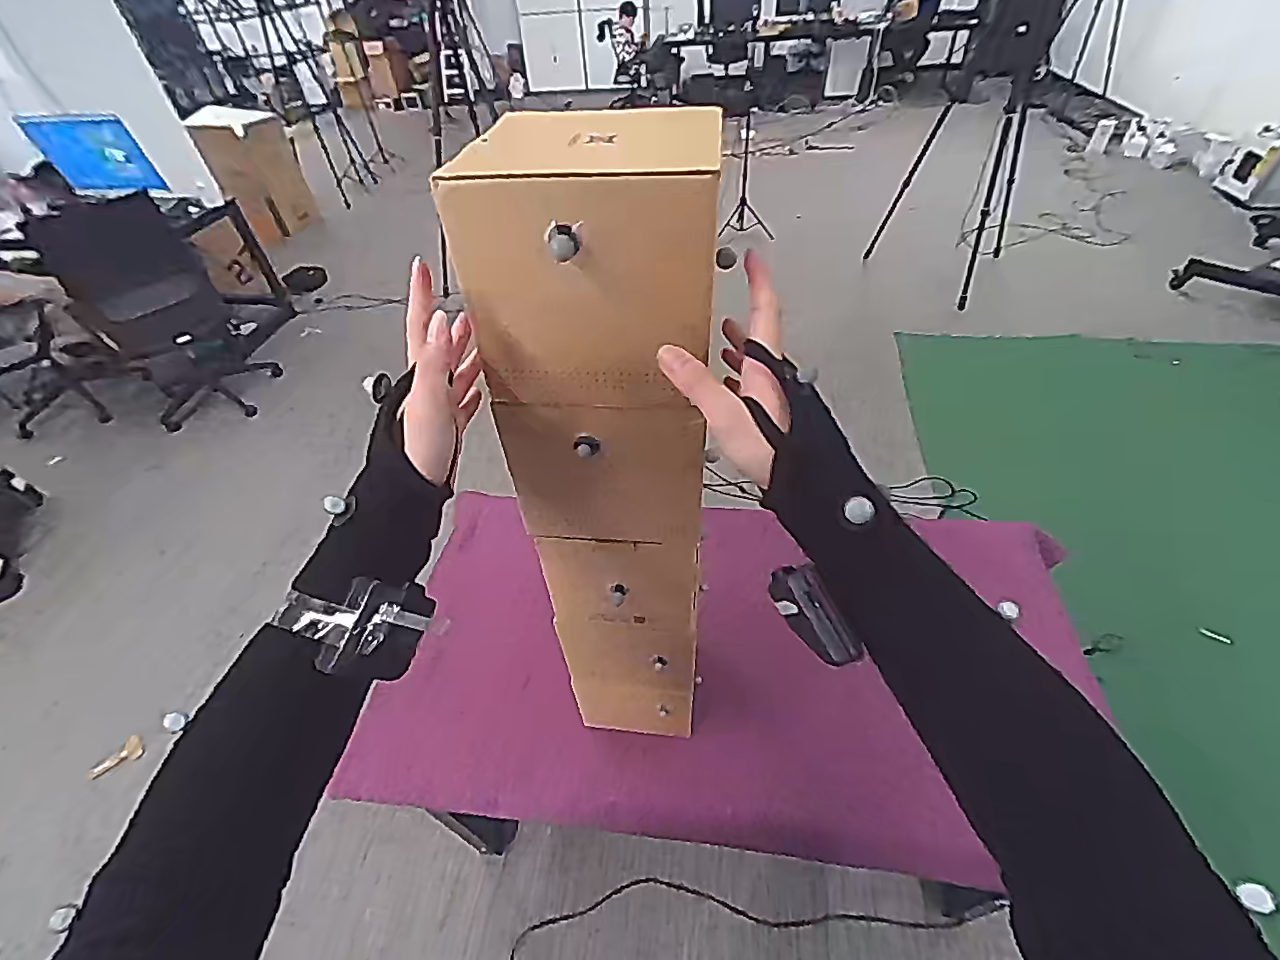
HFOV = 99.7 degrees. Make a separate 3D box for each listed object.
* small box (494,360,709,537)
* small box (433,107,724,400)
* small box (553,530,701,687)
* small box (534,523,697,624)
[{"bbox_3d":[-0.022,-0.058,0.540,0.179,0.176,0.168,2,44,6],"label":"small box"},{"bbox_3d":[-0.027,-0.176,0.429,0.179,0.176,0.168,2,45,7],"label":"small box"},{"bbox_3d":[-0.007,0.177,0.768,0.179,0.176,0.168,3,45,8],"label":"small box"},{"bbox_3d":[-0.015,0.057,0.658,0.168,0.176,0.179,3,45,6],"label":"small box"}]
